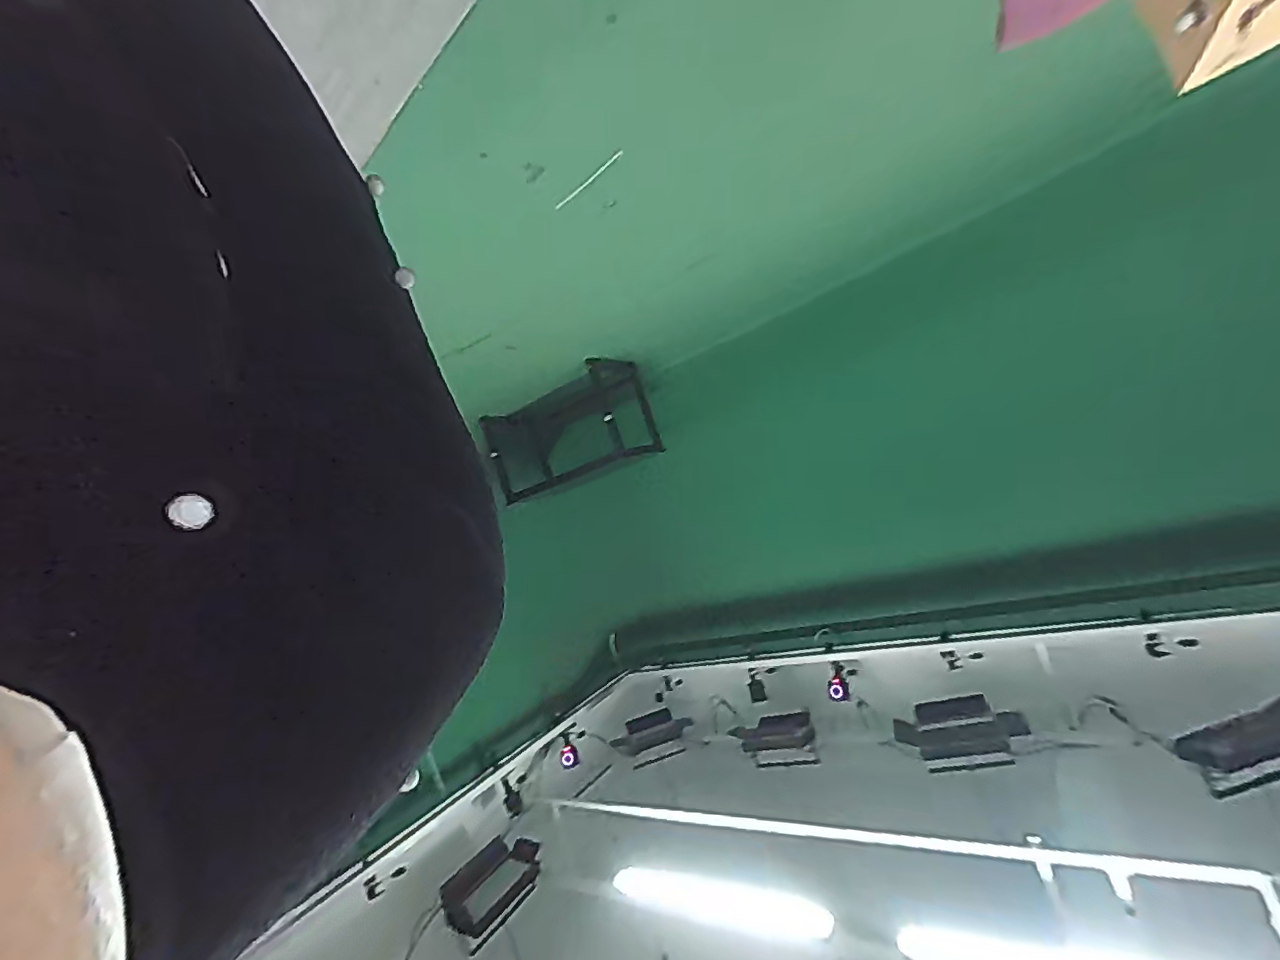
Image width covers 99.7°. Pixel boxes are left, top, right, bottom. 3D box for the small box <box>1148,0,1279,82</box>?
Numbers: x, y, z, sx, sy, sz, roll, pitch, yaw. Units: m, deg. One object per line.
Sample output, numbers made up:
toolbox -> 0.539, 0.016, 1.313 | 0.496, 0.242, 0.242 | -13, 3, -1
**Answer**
small box -> 0.480, -0.448, 0.374 | 0.179, 0.176, 0.168 | -24, 173, 35
